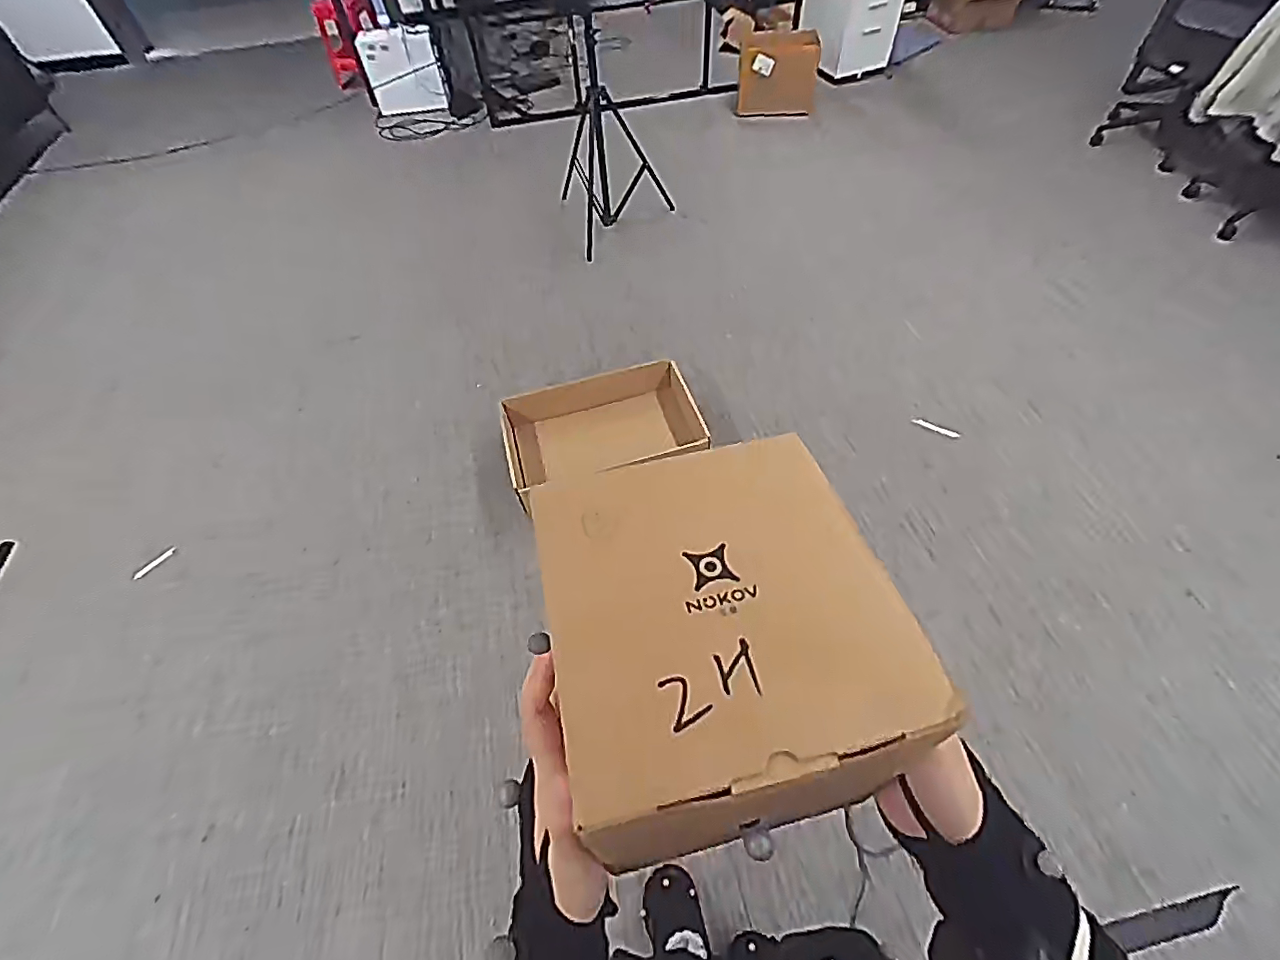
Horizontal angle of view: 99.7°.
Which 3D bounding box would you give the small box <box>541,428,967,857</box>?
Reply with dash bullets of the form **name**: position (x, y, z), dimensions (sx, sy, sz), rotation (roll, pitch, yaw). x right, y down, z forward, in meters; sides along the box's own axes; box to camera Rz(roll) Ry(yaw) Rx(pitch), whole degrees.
- **small box**: position (0.041, 0.098, 0.328), dimensions (0.168, 0.176, 0.179), rotation (-12, 50, -7)
